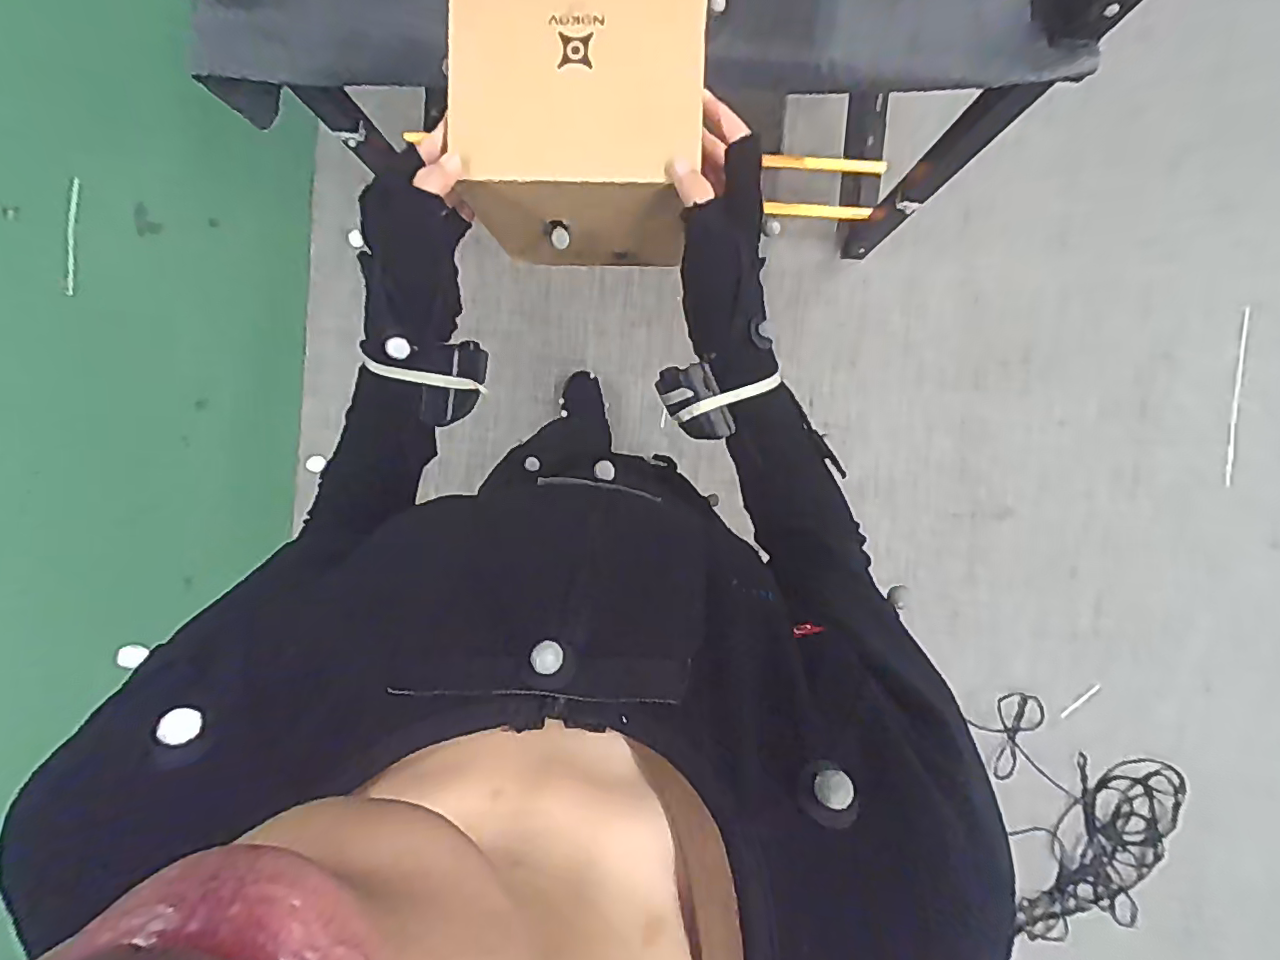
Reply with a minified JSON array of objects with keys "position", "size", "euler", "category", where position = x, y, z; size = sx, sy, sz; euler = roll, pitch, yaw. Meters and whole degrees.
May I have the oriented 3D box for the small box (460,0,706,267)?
[{"position":[-0.035,-0.284,0.438],"size":[0.168,0.176,0.179],"euler":[0,92,2],"category":"small box"}]
